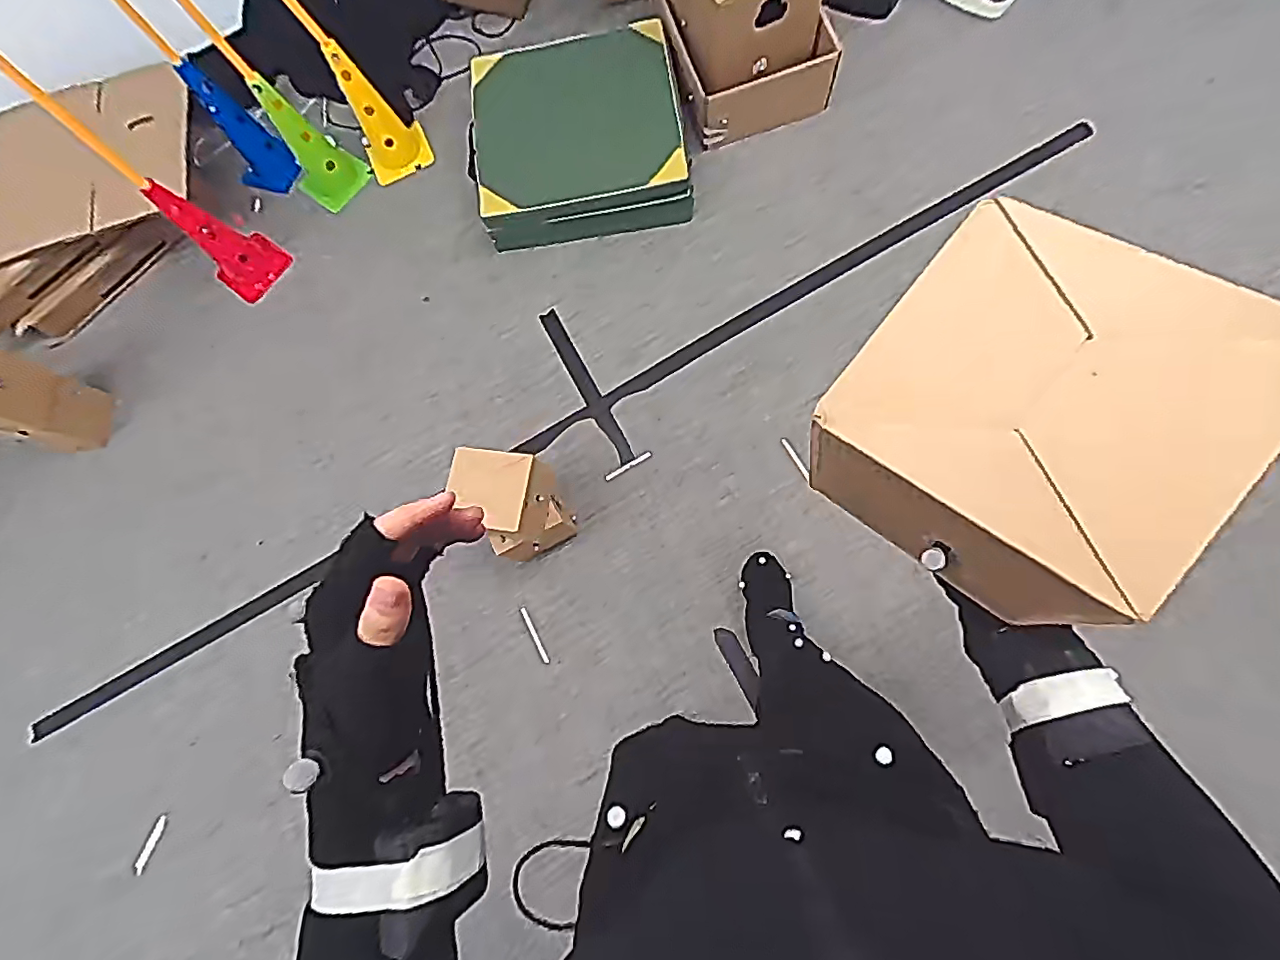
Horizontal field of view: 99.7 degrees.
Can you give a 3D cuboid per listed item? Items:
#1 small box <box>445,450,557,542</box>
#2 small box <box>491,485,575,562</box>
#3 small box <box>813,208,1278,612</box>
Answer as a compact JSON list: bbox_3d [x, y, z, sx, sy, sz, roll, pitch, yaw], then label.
[{"bbox_3d":[-0.304,0.041,1.205,0.179,0.176,0.168,6,76,9],"label":"small box"},{"bbox_3d":[-0.279,0.092,1.363,0.179,0.176,0.168,-27,74,0],"label":"small box"},{"bbox_3d":[0.232,-0.033,0.355,0.179,0.176,0.168,38,88,23],"label":"small box"}]
